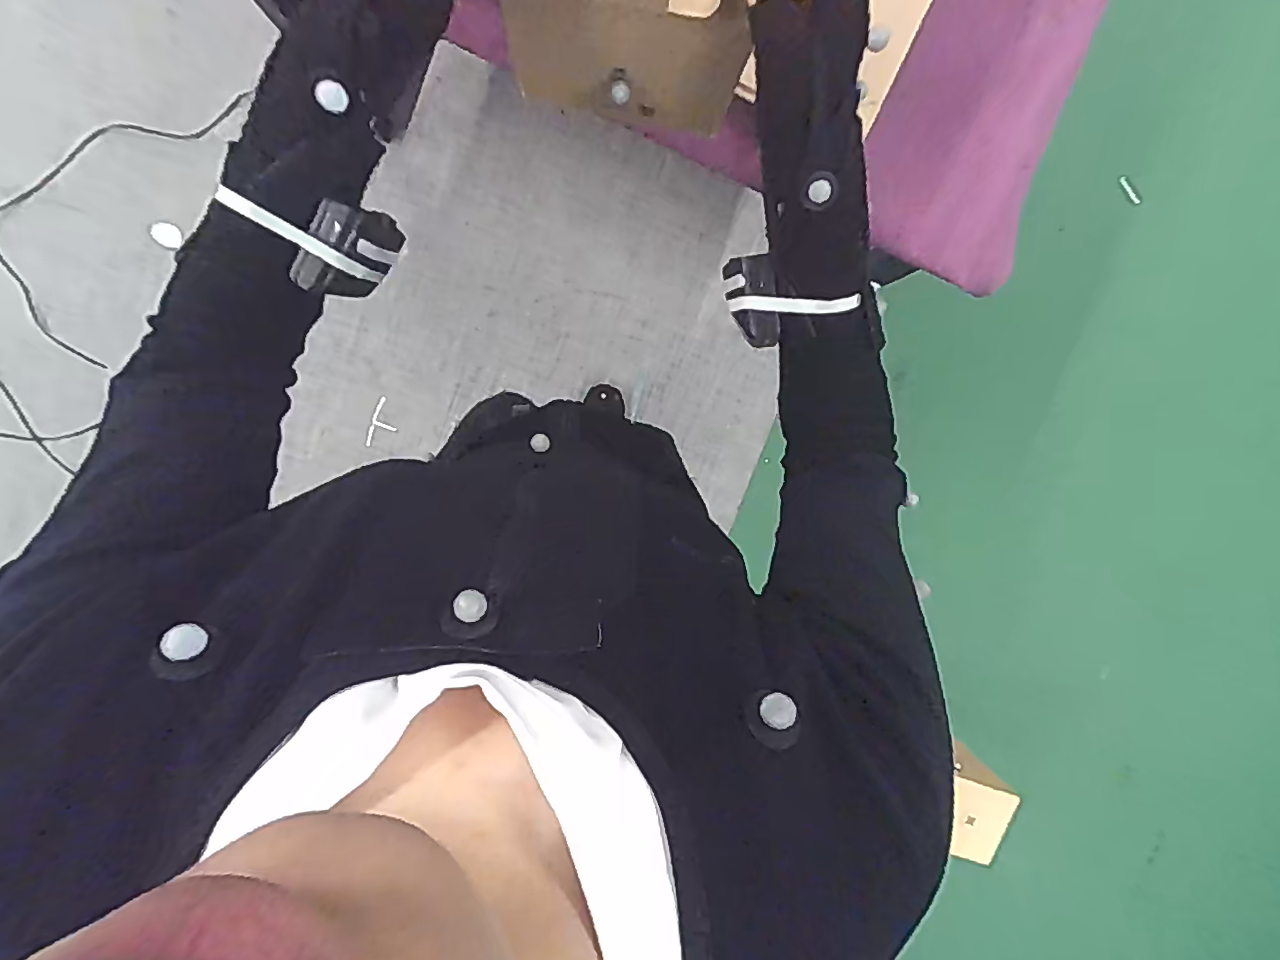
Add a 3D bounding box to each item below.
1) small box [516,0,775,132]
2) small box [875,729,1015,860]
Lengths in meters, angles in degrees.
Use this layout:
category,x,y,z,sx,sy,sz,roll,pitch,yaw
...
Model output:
category,x,y,z,sx,sy,sz,roll,pitch,yaw
small box,0.006,-0.381,0.365,0.168,0.176,0.179,9,97,-6
small box,0.665,0.688,1.200,0.179,0.176,0.168,20,96,-6
